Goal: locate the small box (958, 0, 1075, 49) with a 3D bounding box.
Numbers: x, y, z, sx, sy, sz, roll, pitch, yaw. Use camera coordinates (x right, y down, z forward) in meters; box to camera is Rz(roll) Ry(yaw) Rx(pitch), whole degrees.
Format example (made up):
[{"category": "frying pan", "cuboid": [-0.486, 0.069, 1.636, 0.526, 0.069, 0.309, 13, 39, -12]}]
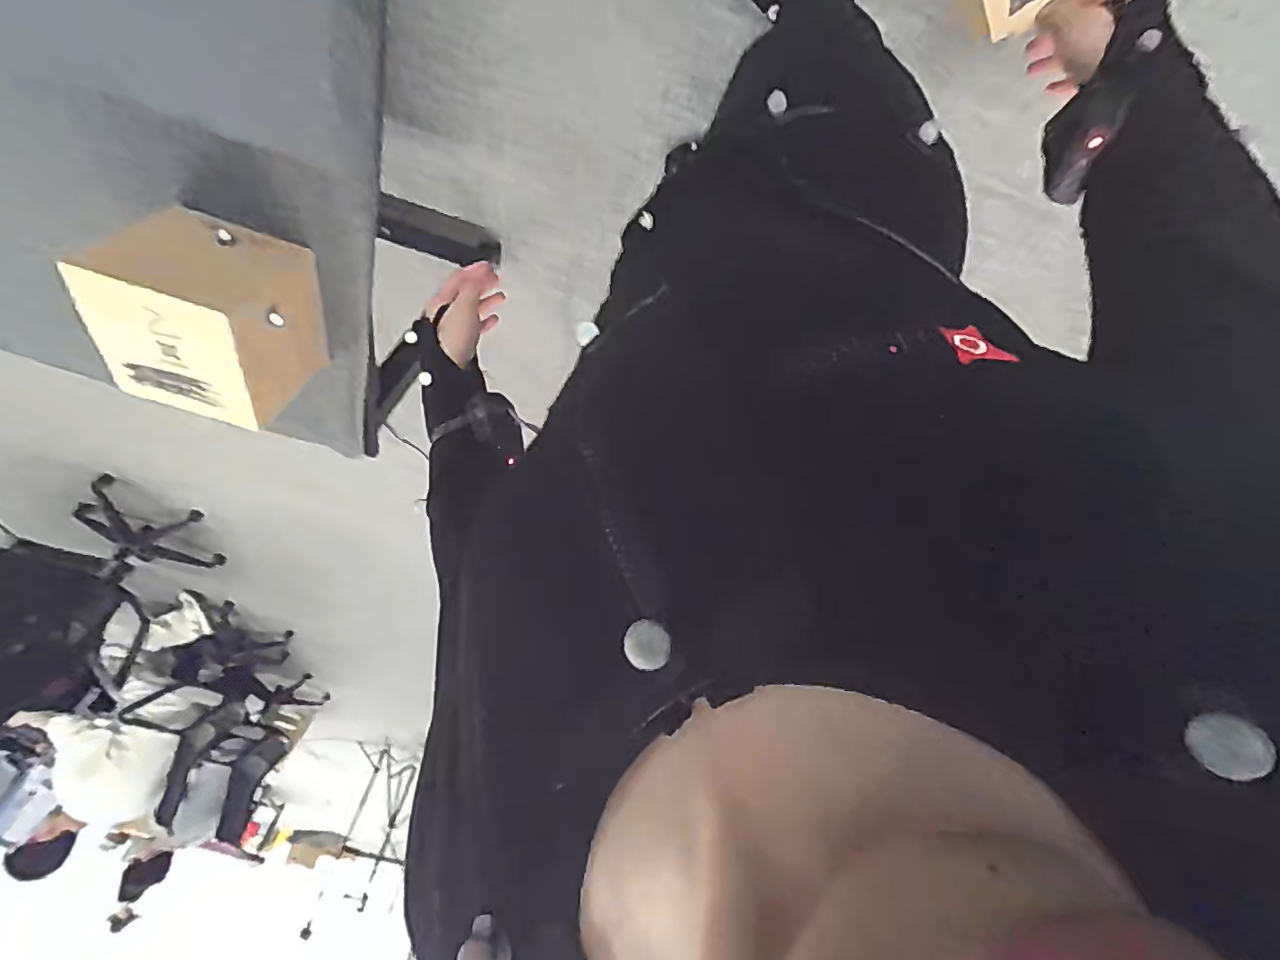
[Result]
[{"category": "small box", "cuboid": [0.604, -0.834, 0.848, 0.168, 0.176, 0.179, -22, 126, 30]}]
